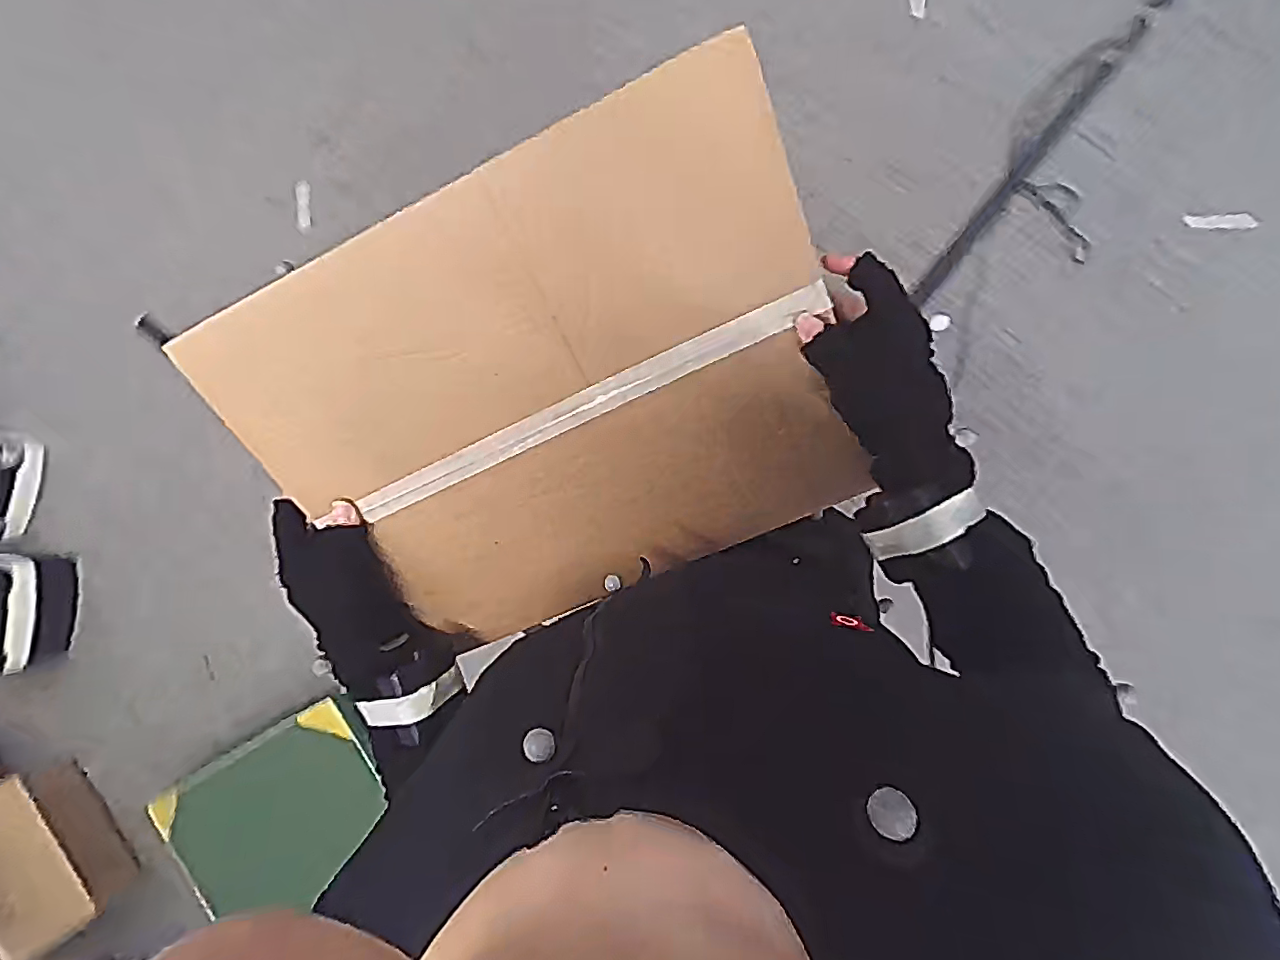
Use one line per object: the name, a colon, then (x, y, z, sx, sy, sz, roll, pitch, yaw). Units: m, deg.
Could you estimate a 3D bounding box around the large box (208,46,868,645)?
large box: (-0.063, -0.112, 0.531, 0.408, 0.320, 0.320, -22, 116, 9)
